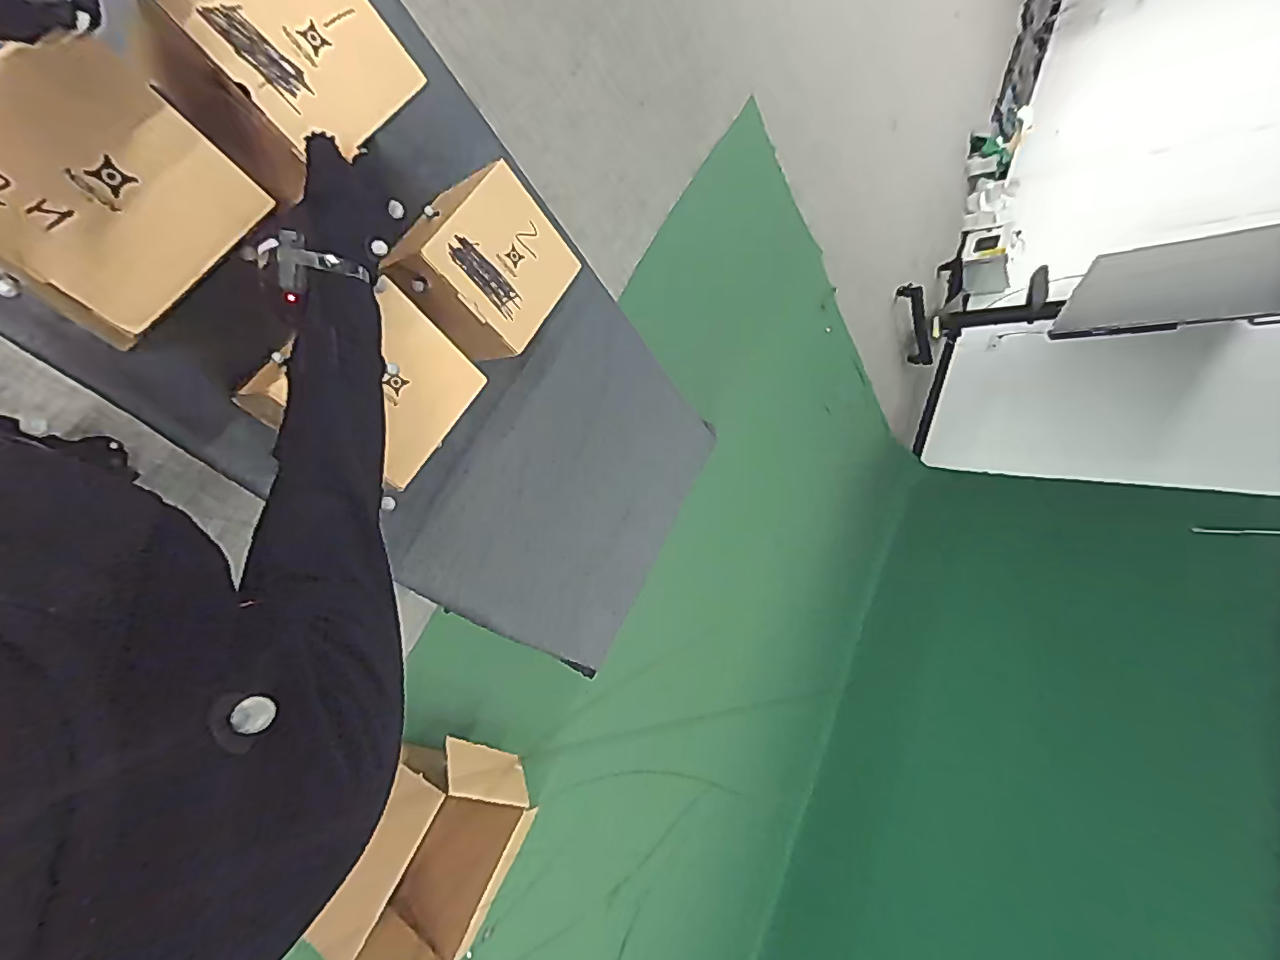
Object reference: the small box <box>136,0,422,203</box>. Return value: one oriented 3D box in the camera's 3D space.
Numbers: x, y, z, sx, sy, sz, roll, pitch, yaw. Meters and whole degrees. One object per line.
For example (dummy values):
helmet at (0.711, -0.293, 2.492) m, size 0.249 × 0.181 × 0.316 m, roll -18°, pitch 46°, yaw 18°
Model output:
small box at (-0.374, -0.426, 0.565) m, size 0.168 × 0.176 × 0.179 m, roll 48°, pitch 61°, yaw -39°

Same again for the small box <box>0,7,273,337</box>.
small box at (-0.479, -0.248, 0.477) m, size 0.168 × 0.176 × 0.179 m, roll 46°, pitch 64°, yaw -40°
